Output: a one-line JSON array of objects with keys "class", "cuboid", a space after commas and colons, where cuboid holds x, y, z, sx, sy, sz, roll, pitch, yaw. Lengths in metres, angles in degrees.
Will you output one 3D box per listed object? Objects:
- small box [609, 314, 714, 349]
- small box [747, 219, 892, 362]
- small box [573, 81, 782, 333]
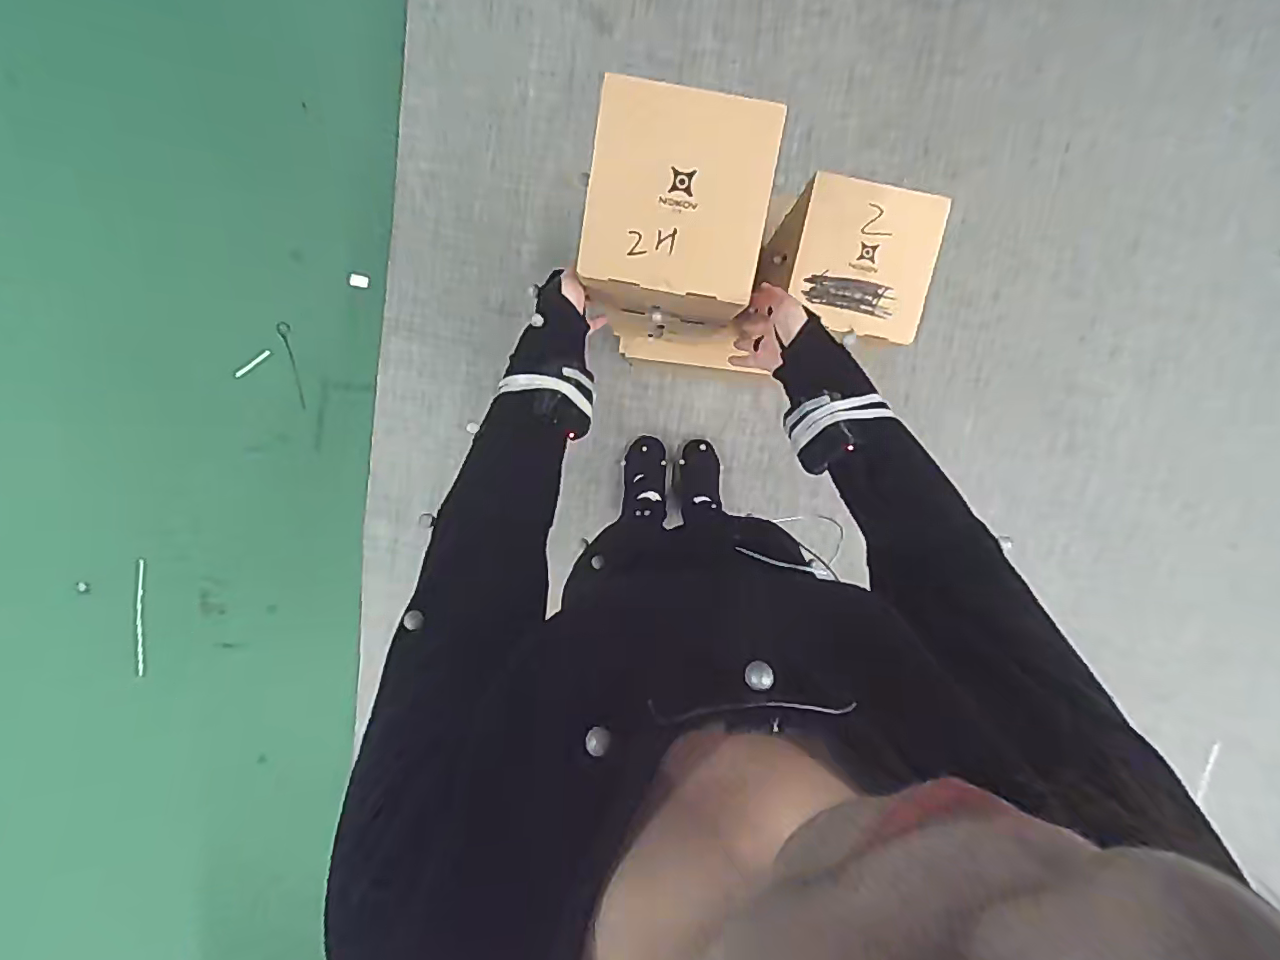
[{"class": "small box", "cuboid": [0.045, -0.321, 0.895, 0.168, 0.176, 0.179, 9, 100, -1]}, {"class": "small box", "cuboid": [0.281, -0.298, 0.890, 0.168, 0.176, 0.179, 12, 98, 1]}, {"class": "small box", "cuboid": [0.033, -0.266, 0.570, 0.168, 0.176, 0.179, 10, 98, -1]}]
